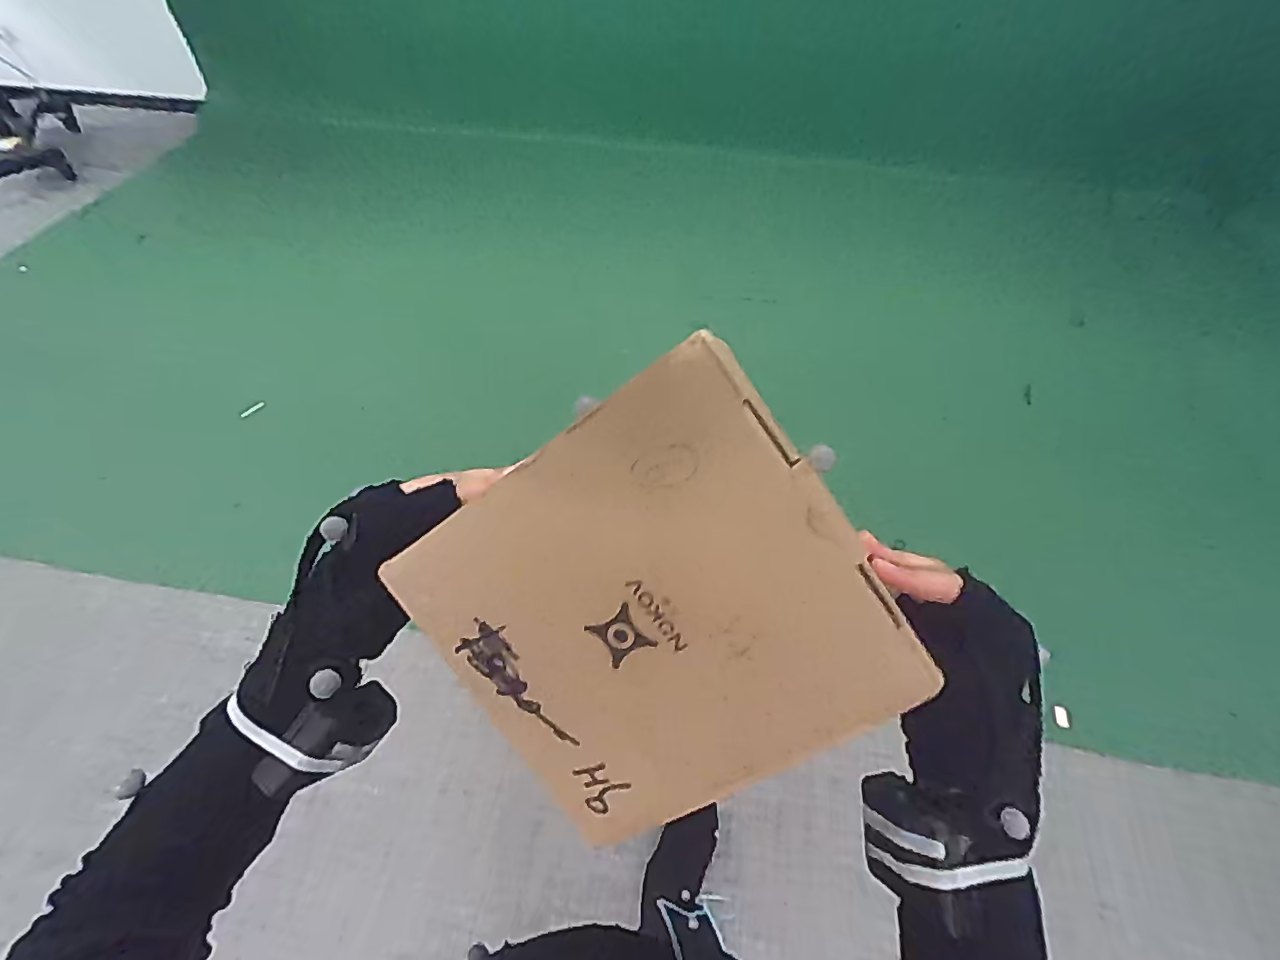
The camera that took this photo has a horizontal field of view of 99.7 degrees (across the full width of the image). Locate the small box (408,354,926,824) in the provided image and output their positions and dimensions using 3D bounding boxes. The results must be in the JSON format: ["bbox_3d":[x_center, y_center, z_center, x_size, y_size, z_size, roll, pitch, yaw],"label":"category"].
[{"bbox_3d":[0.018,0.041,0.313,0.179,0.176,0.168,-34,96,16],"label":"small box"}]
